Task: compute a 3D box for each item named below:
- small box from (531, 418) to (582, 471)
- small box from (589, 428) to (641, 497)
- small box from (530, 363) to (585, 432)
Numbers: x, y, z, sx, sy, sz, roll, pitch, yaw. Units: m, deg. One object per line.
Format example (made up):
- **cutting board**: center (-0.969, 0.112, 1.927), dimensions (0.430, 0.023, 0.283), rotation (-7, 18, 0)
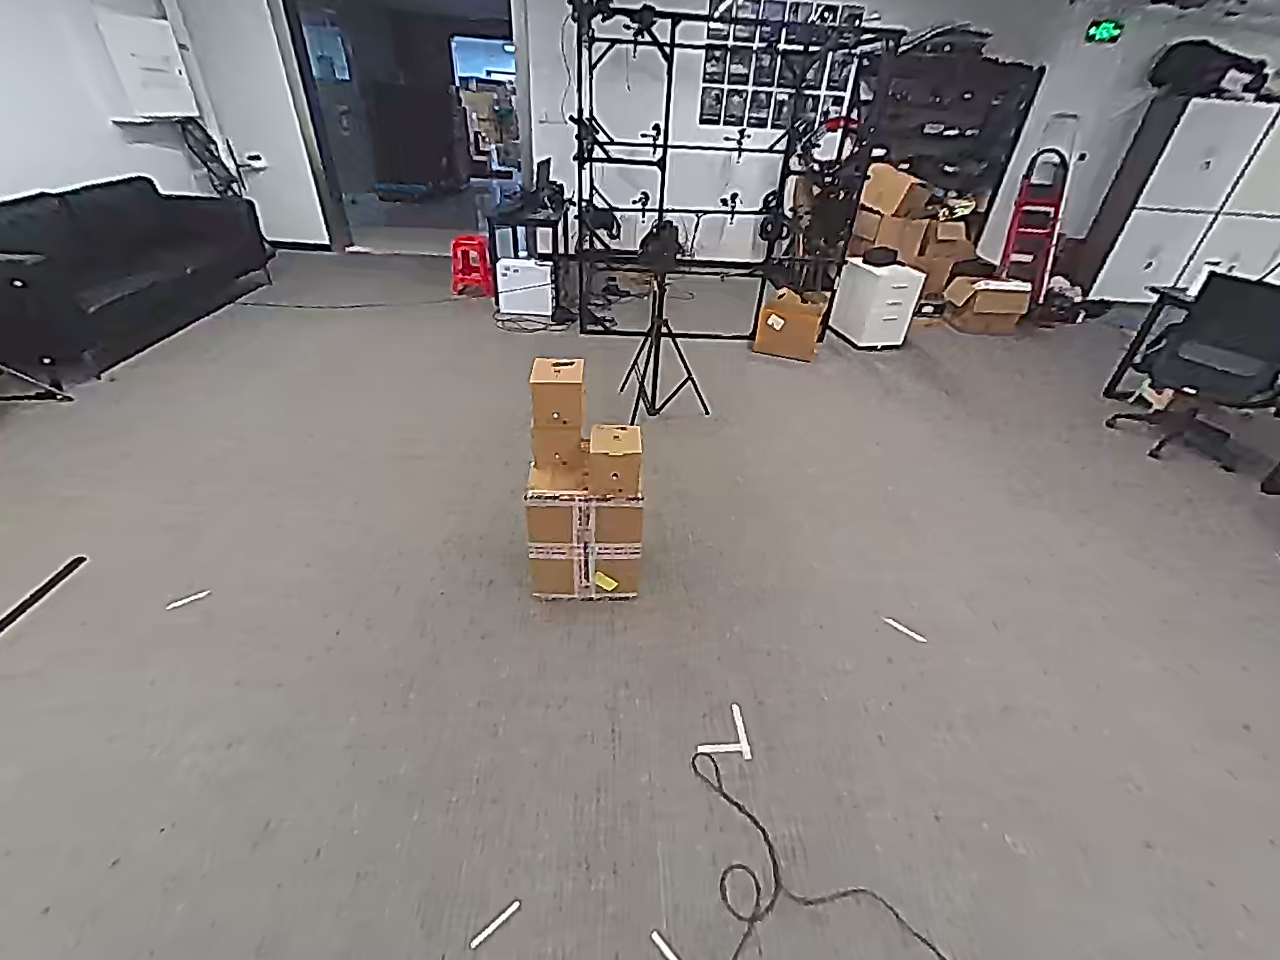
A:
- **small box**: center (-0.291, -0.146, 1.909), dimensions (0.168, 0.176, 0.179), rotation (-3, 37, -5)
- **small box**: center (-0.084, -0.057, 1.800), dimensions (0.168, 0.176, 0.179), rotation (2, 37, -4)
- **small box**: center (-0.271, -0.277, 1.809), dimensions (0.168, 0.176, 0.179), rotation (0, 37, -3)
